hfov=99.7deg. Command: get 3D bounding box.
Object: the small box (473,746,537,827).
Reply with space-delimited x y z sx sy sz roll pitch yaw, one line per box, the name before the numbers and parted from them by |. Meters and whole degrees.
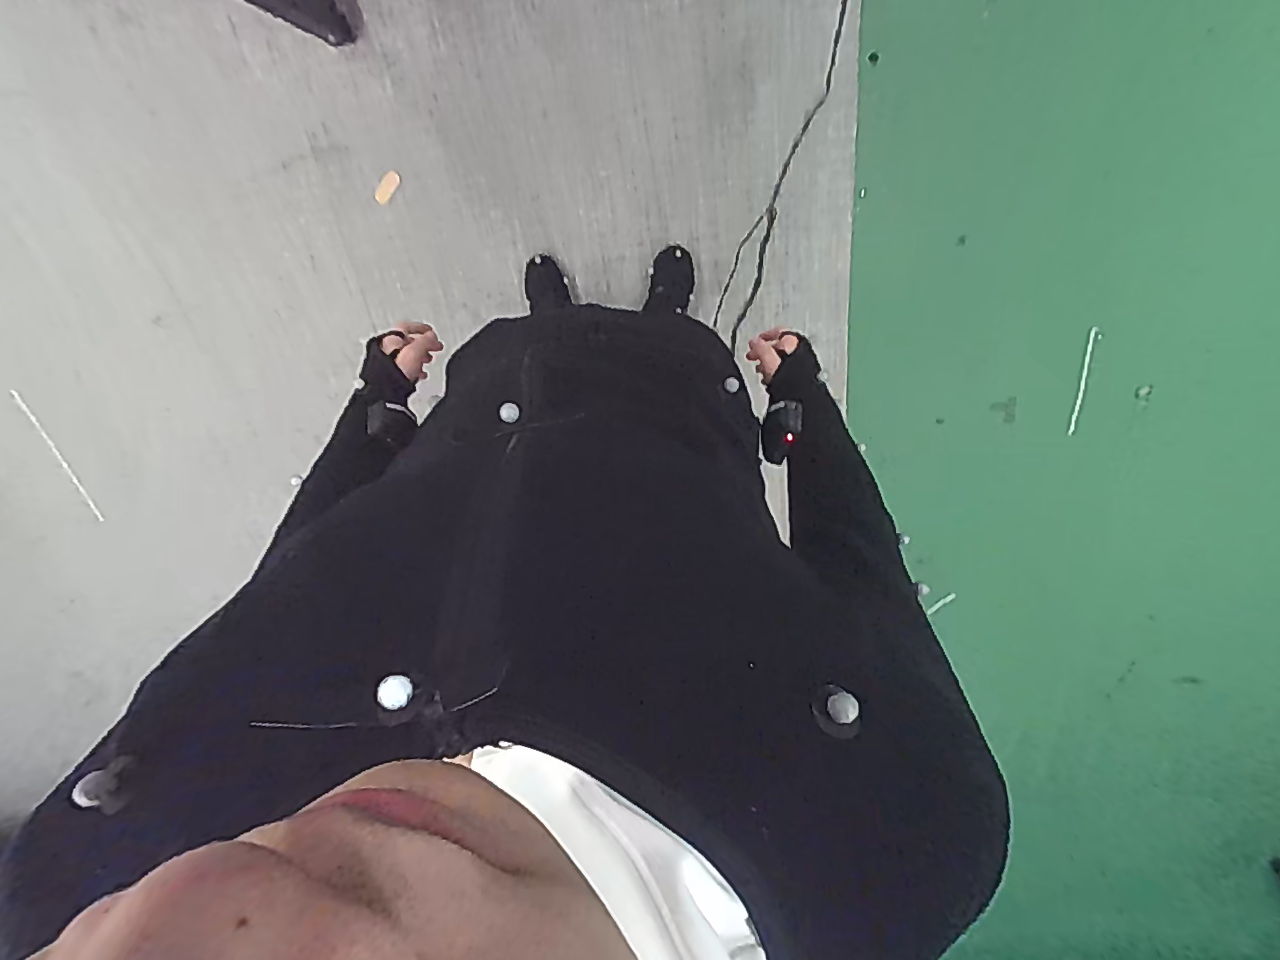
small box | -0.442 1.009 1.790 0.168 0.176 0.179 3 115 1
